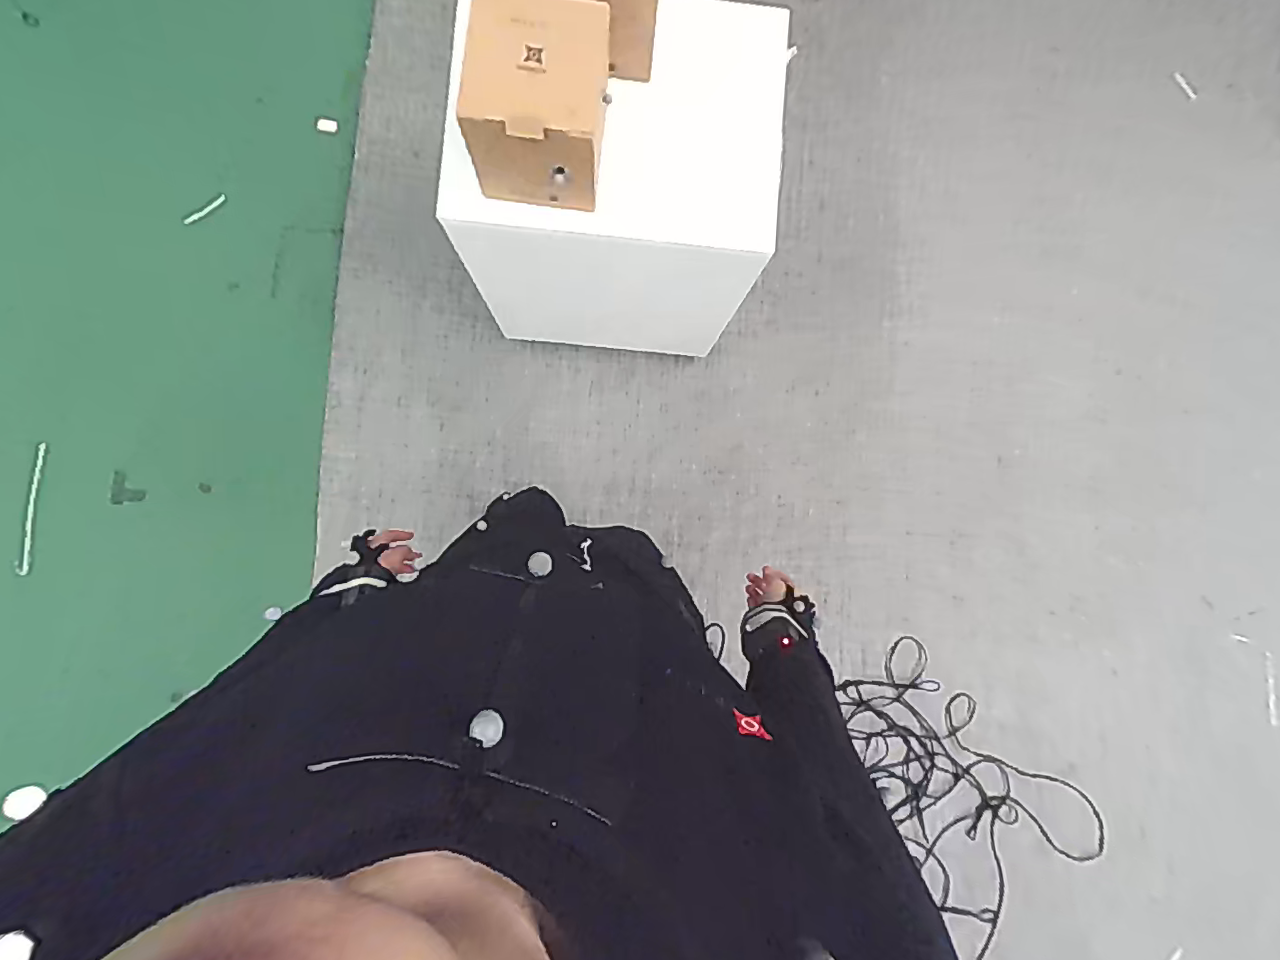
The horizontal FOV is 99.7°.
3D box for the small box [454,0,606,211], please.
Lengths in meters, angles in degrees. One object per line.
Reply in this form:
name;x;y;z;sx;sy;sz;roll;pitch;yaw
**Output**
small box;-0.136;-0.492;0.723;0.168;0.176;0.179;6;84;-5
